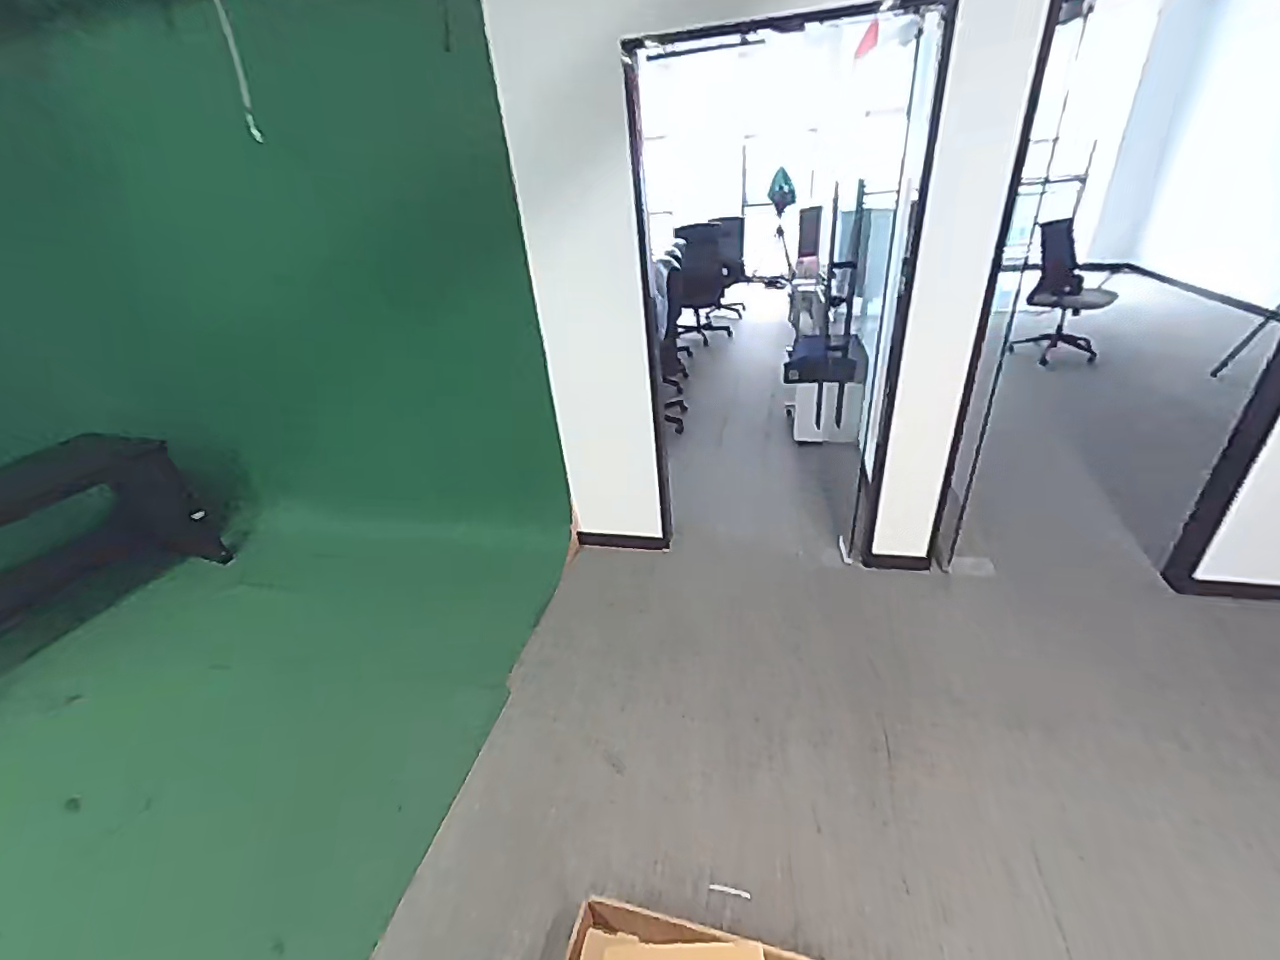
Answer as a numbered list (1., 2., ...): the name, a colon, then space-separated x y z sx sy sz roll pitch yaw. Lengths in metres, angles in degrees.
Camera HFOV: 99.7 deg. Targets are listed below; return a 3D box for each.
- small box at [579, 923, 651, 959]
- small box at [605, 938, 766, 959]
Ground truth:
1. small box: -0.042 1.007 1.033 0.168 0.176 0.179 4 31 14
2. small box: 0.046 0.582 0.515 0.168 0.176 0.179 -2 28 1
